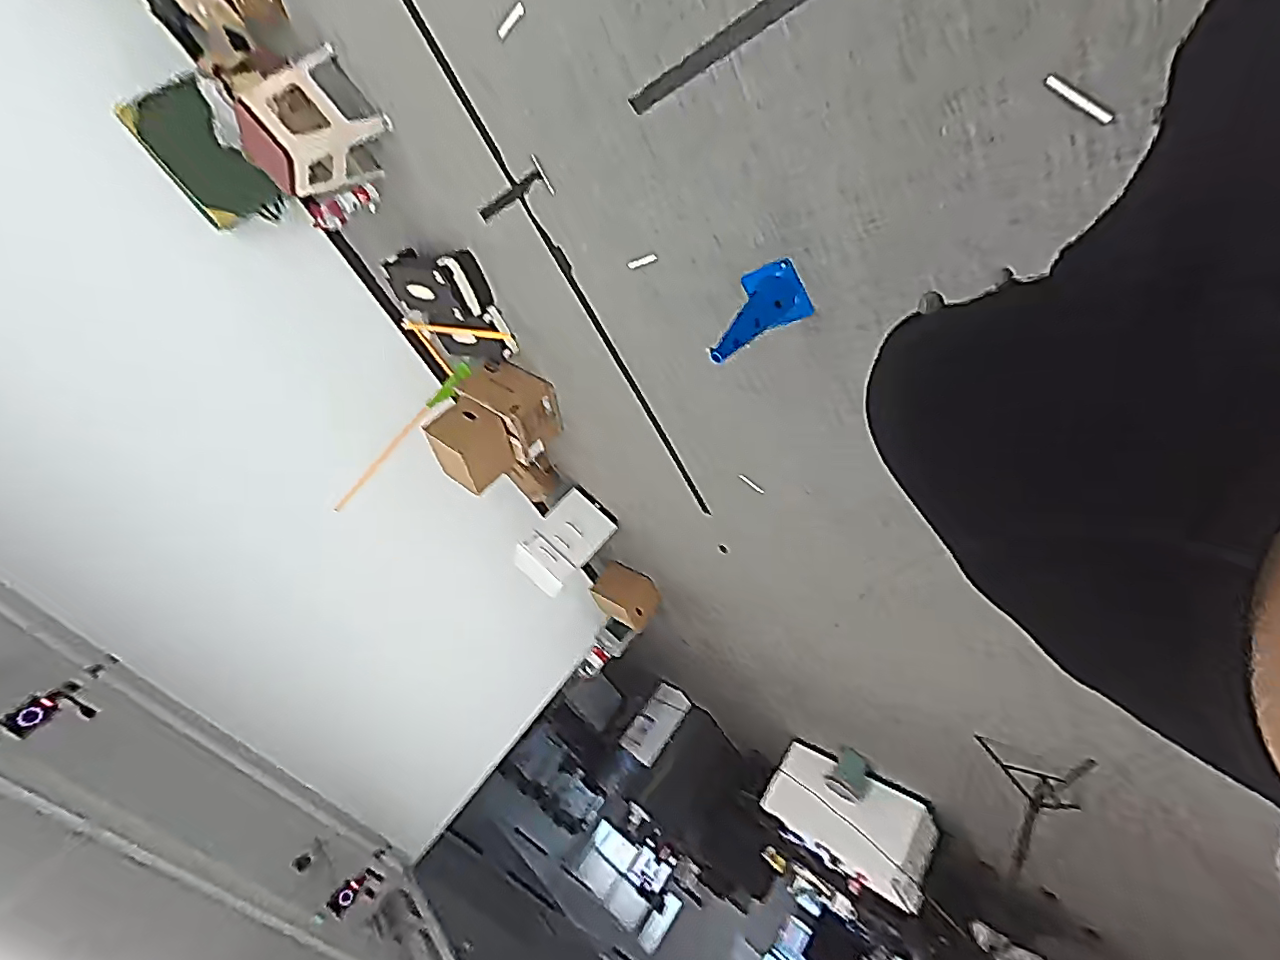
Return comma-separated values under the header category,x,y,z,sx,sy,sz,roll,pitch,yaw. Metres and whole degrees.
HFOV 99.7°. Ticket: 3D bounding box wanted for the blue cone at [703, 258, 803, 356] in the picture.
category,x,y,z,sx,sy,sz,roll,pitch,yaw
blue cone,0.313,-0.483,1.638,0.193,0.380,0.192,0,131,54
